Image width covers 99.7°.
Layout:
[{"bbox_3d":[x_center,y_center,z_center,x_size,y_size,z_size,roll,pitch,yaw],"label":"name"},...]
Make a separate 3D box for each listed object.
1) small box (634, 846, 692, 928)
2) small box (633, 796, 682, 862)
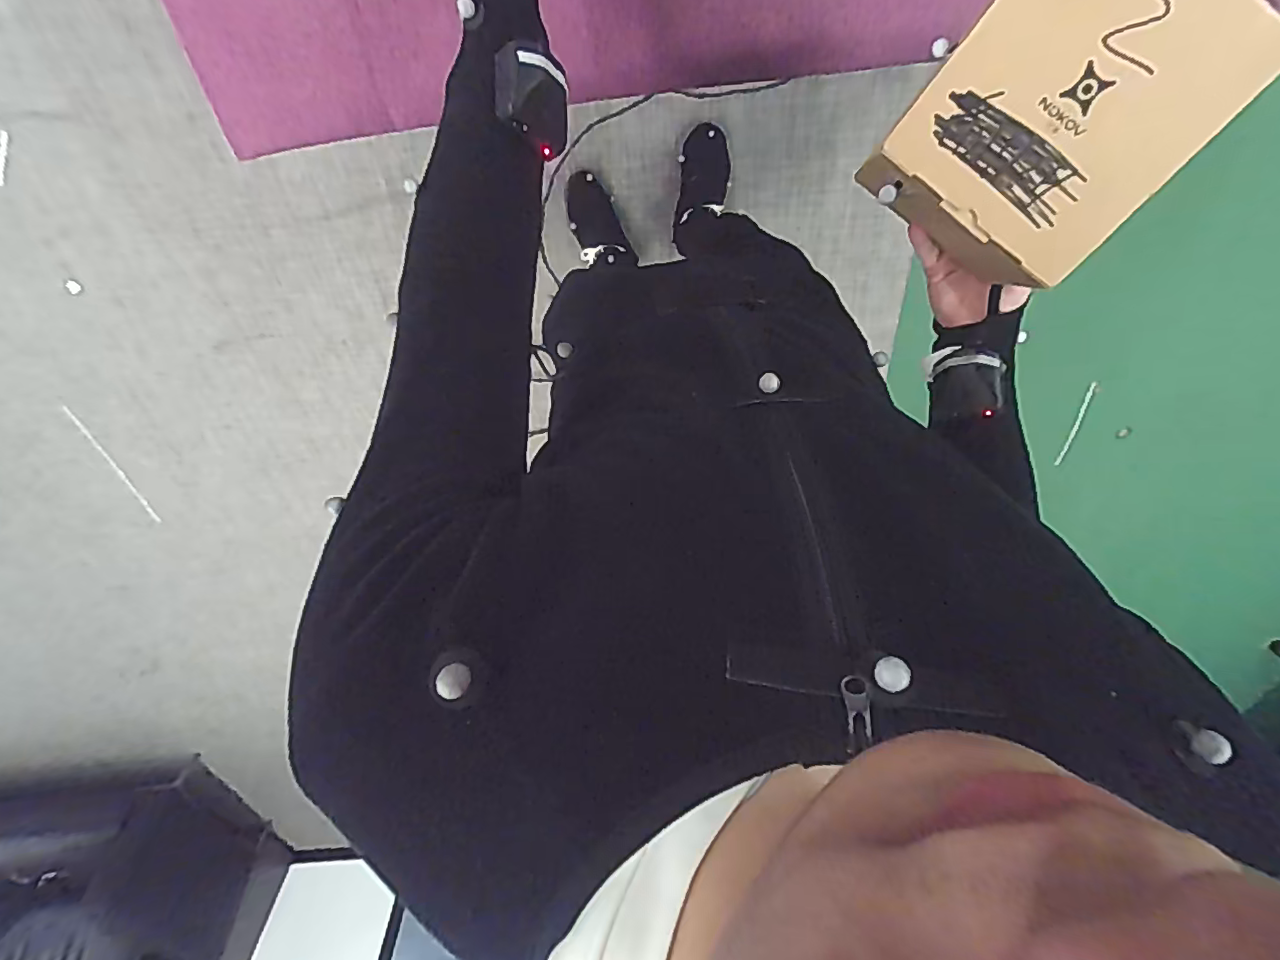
[{"bbox_3d":[0.072,1.352,1.797,0.168,0.176,0.179,5,123,-4],"label":"small box"},{"bbox_3d":[0.064,1.256,1.931,0.168,0.176,0.179,-3,123,1],"label":"small box"}]
